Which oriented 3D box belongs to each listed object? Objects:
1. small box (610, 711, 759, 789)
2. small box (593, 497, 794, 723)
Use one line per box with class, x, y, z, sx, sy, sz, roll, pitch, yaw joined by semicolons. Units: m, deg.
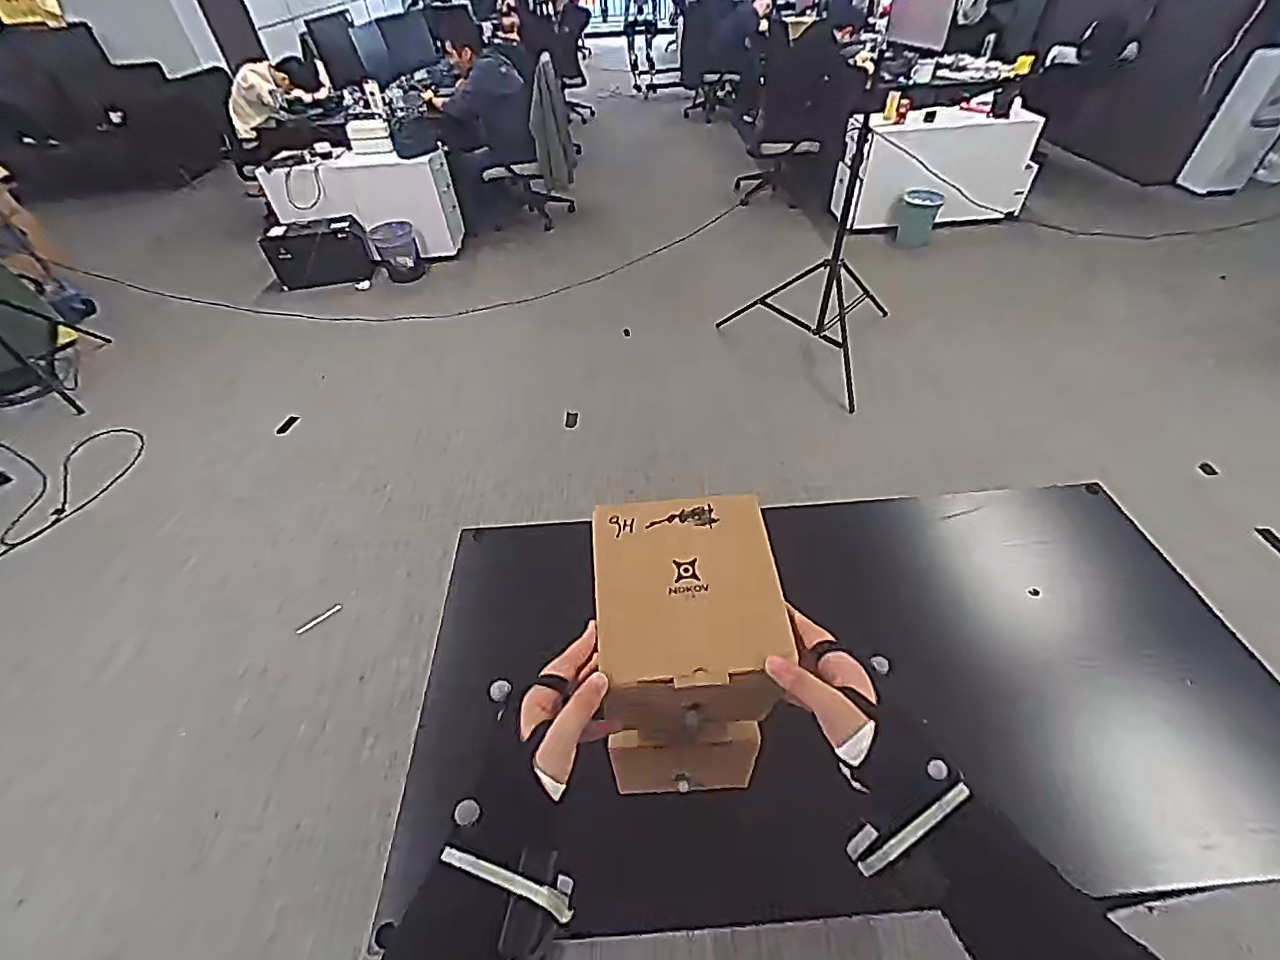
small box;0.049;0.276;0.698;0.168;0.176;0.179;-3;46;1
small box;0.042;0.140;0.553;0.168;0.176;0.179;-4;54;-3
